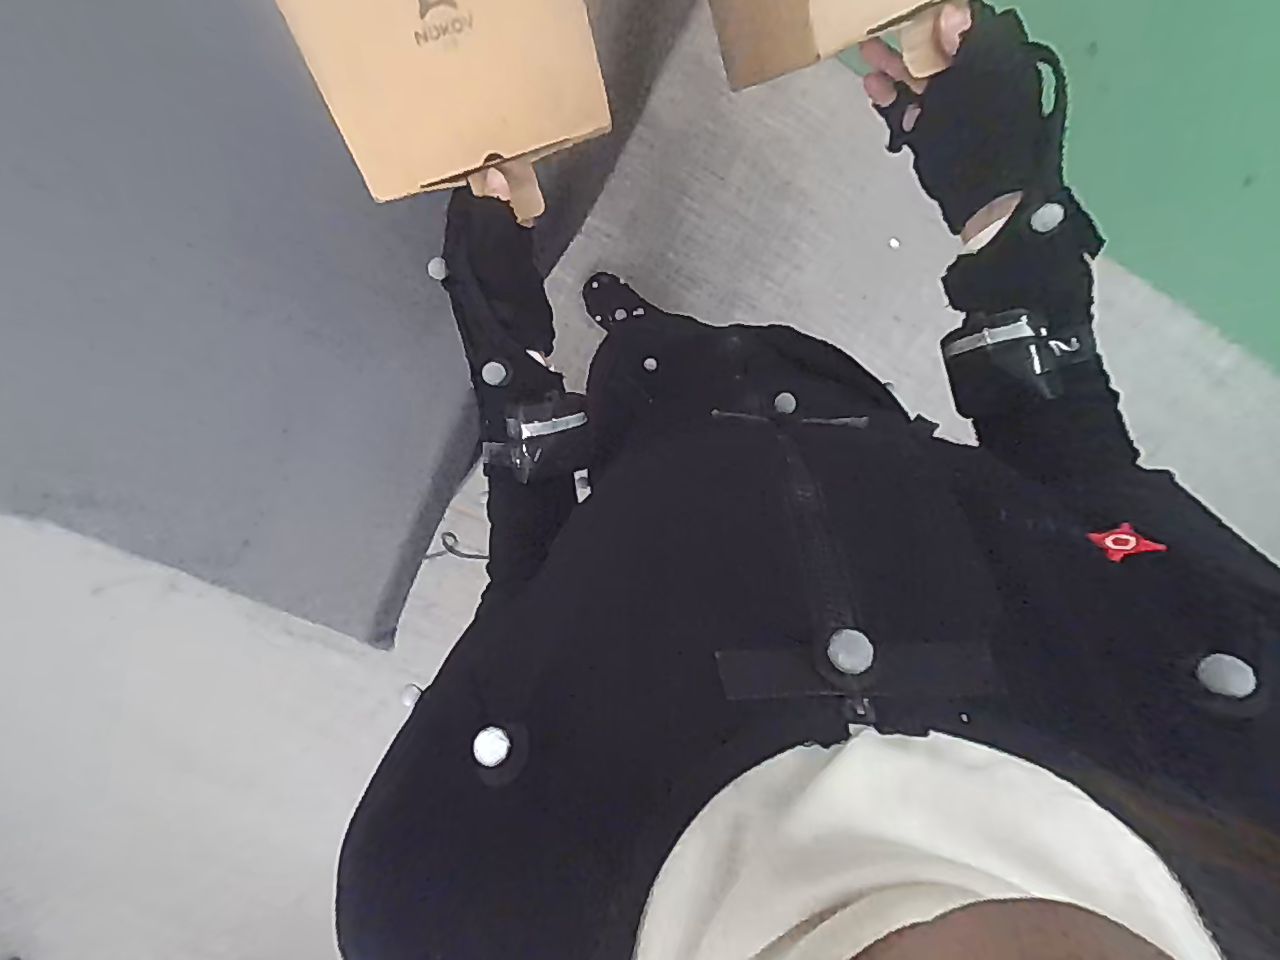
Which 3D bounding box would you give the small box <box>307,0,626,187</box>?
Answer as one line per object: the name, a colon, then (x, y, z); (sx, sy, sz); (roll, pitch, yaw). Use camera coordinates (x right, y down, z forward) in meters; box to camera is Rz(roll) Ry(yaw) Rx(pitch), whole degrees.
small box: (-0.117, -0.326, 0.369); (0.168, 0.176, 0.179); (-17, 125, 0)
